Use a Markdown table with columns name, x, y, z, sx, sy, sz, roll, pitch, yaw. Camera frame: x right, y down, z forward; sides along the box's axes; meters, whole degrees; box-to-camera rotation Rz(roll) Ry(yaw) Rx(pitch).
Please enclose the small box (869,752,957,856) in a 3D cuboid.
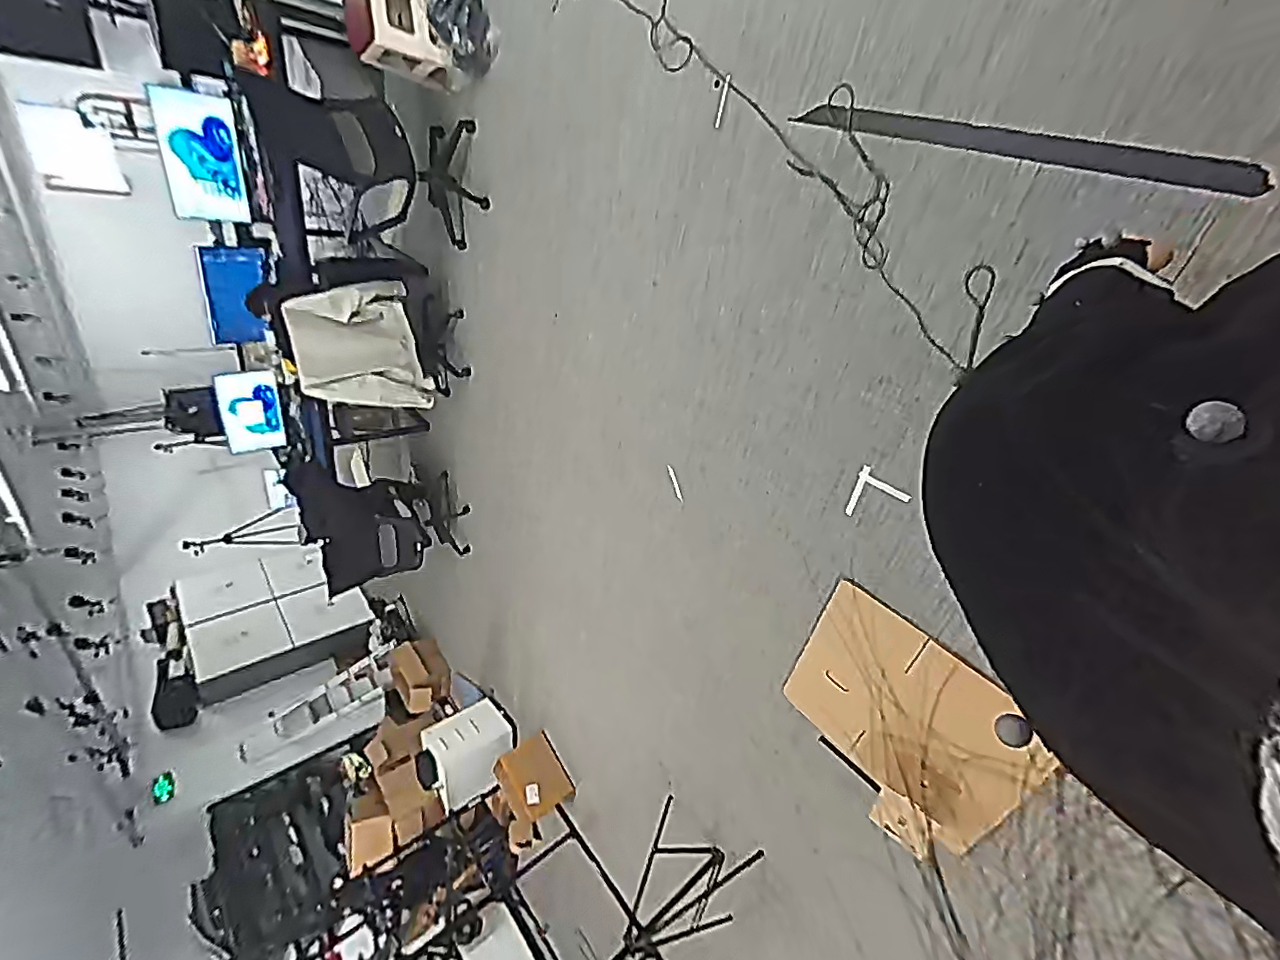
| name | x | y | z | sx | sy | sz | roll | pitch | yaw |
| --- | --- | --- | --- | --- | --- | --- | --- | --- | --- |
| small box | 0.832 | 0.974 | 1.640 | 0.168 | 0.176 | 0.179 | 31 | 125 | 39 |
